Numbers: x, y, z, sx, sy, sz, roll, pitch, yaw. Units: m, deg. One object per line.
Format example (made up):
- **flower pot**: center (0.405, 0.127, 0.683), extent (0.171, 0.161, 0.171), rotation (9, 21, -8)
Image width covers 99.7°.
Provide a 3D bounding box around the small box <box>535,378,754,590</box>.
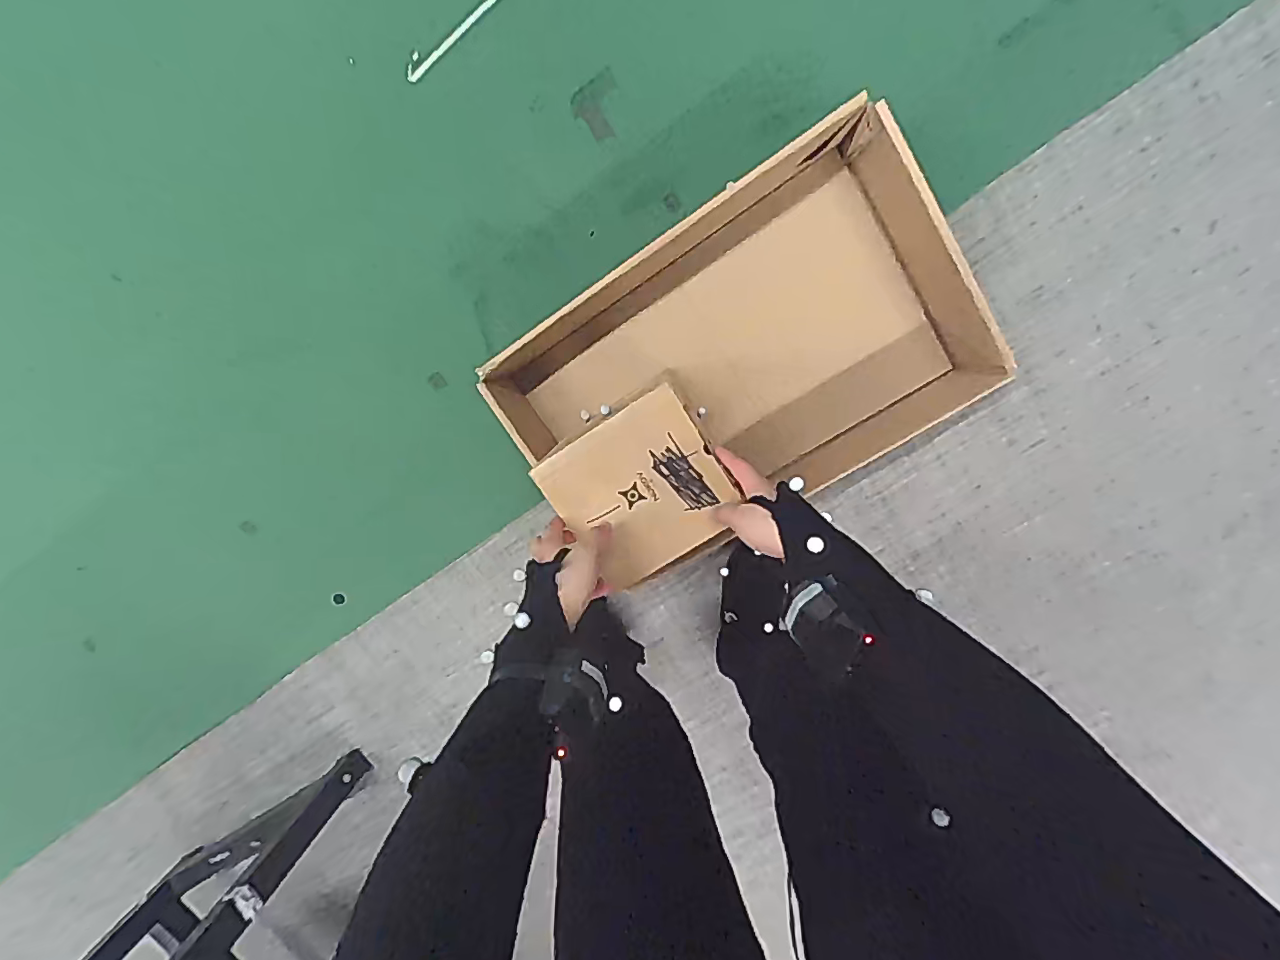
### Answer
- **small box**: center (0.007, -0.008, 0.635), extent (0.179, 0.176, 0.168), rotation (-32, 99, 9)
